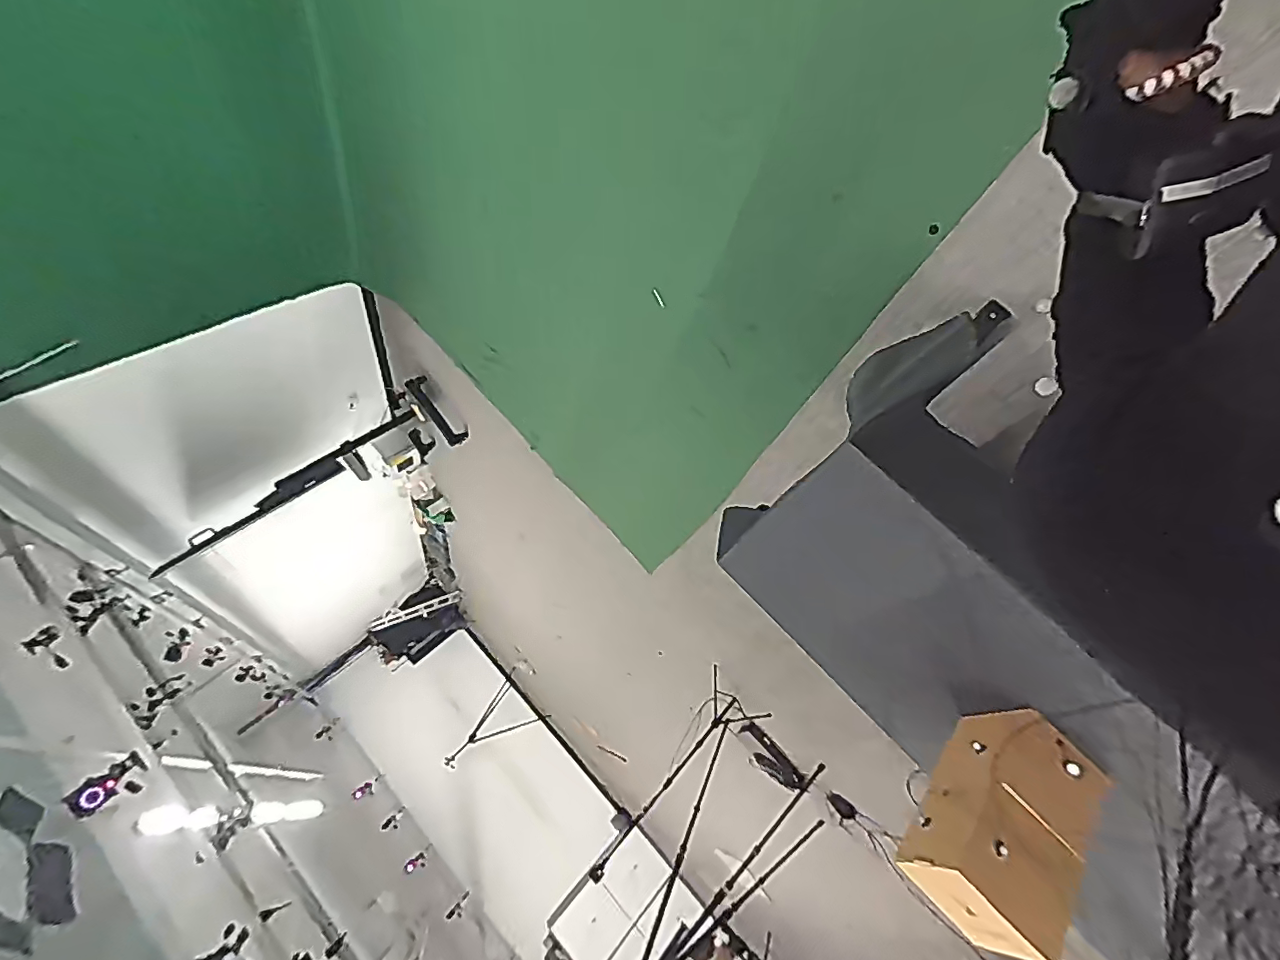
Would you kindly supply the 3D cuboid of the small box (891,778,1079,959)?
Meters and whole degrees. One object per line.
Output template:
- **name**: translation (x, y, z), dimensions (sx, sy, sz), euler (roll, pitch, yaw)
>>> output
- **small box**: translation (0.569, 0.625, 0.899), dimensions (0.179, 0.176, 0.168), euler (45, 150, 12)

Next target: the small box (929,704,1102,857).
- **small box**: translation (0.678, 0.534, 0.979), dimensions (0.168, 0.176, 0.179), euler (46, 148, 10)
